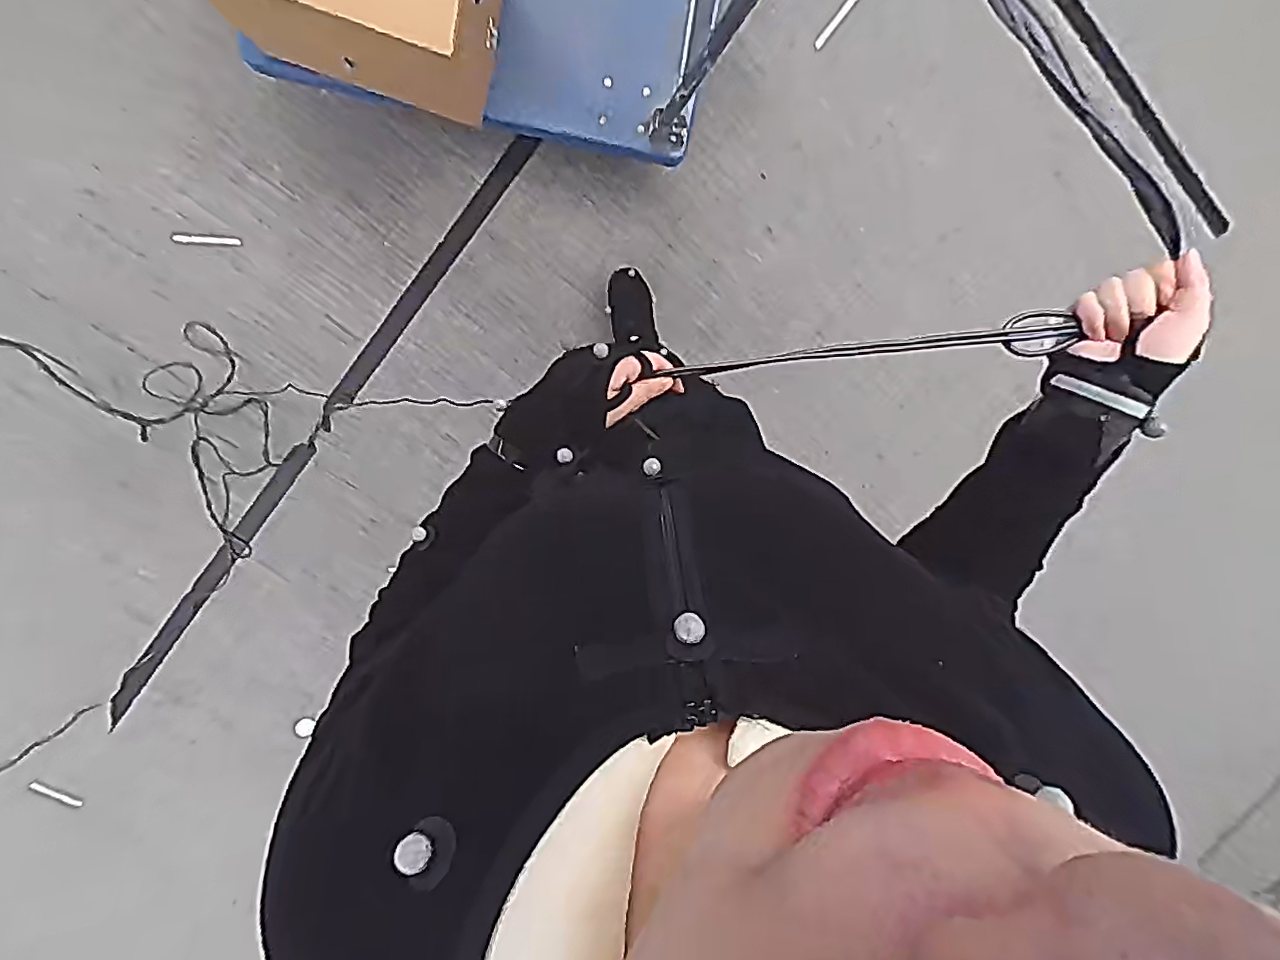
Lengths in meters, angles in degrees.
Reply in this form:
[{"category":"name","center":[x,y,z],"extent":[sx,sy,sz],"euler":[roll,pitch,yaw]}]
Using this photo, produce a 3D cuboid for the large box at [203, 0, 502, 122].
[{"category":"large box","center":[-0.447,-0.844,0.861],"extent":[0.408,0.320,0.320],"euler":[13,103,-11]}]
